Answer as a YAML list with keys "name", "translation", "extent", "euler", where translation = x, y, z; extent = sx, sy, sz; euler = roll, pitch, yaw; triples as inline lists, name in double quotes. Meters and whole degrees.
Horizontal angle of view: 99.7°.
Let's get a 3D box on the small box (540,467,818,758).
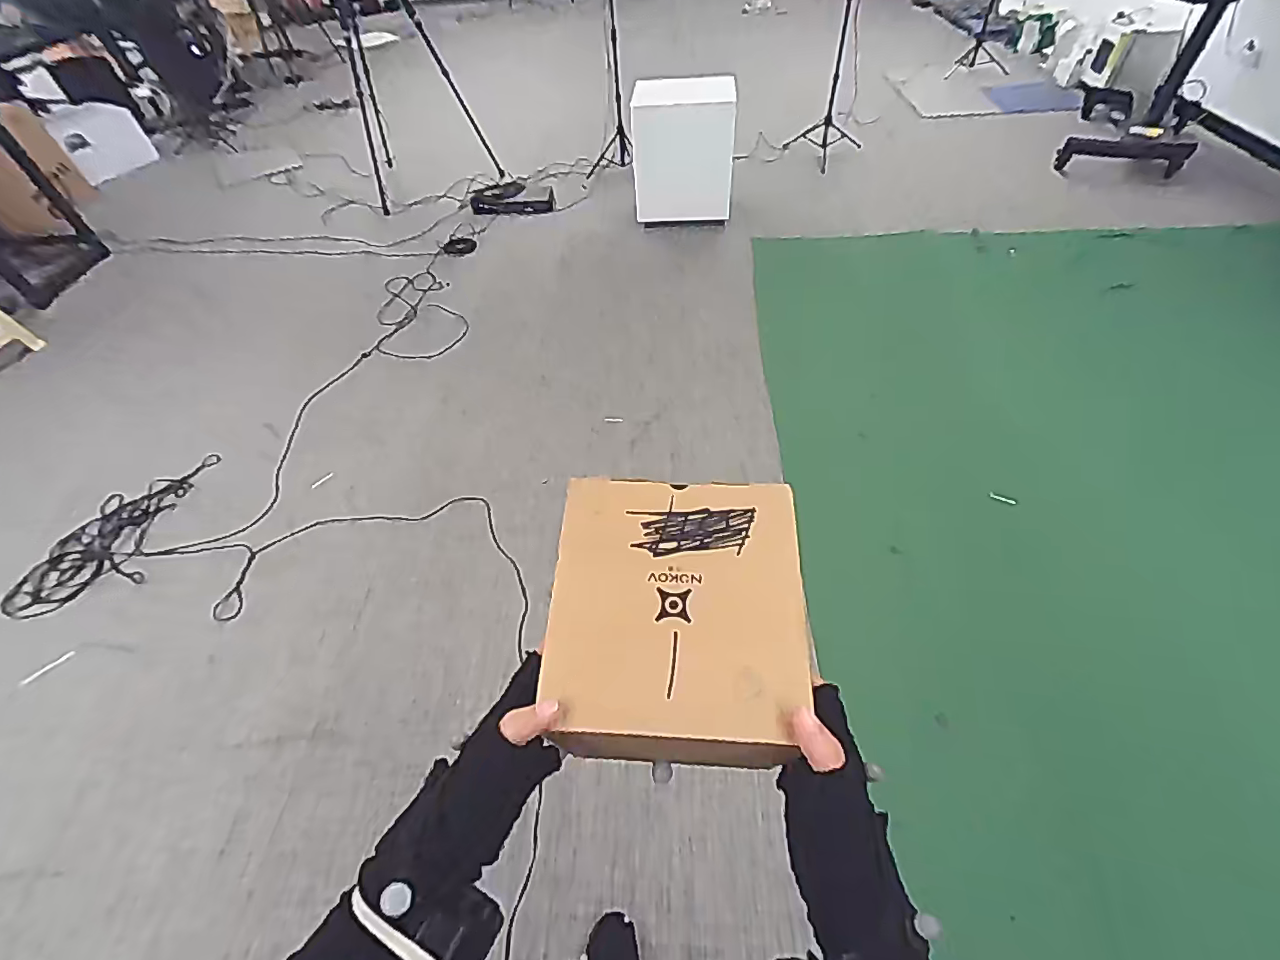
- name: "small box"
  translation: [0.030, 0.109, 0.426]
  extent: [0.168, 0.176, 0.179]
  euler: [1, 58, 4]
